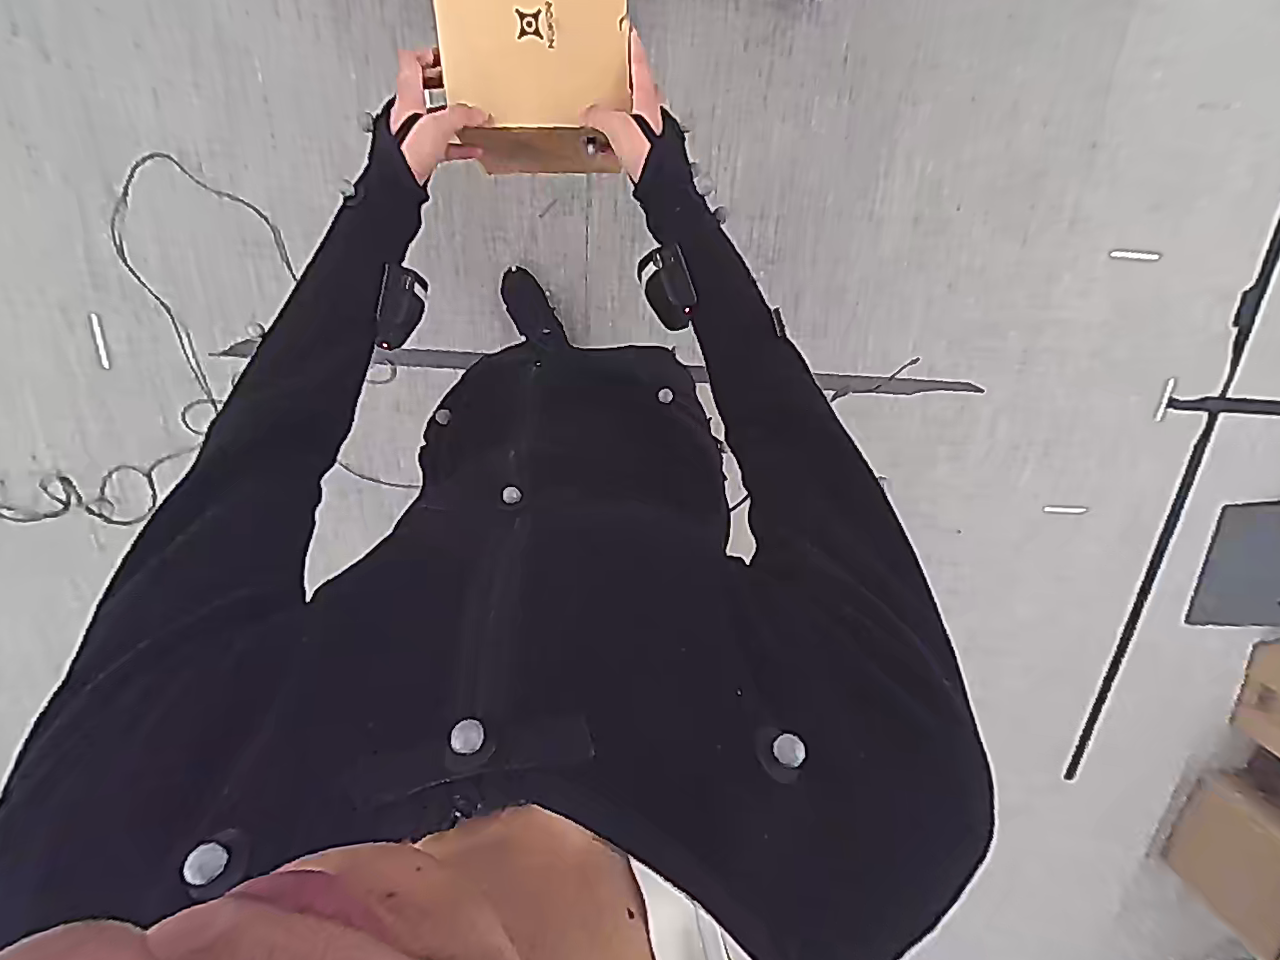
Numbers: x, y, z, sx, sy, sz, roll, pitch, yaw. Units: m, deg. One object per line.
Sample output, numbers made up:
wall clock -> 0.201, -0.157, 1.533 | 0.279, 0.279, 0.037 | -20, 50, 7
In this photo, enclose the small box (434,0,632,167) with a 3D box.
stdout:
small box -> -0.103, -0.437, 0.561 | 0.179, 0.176, 0.168 | -4, 108, -6
